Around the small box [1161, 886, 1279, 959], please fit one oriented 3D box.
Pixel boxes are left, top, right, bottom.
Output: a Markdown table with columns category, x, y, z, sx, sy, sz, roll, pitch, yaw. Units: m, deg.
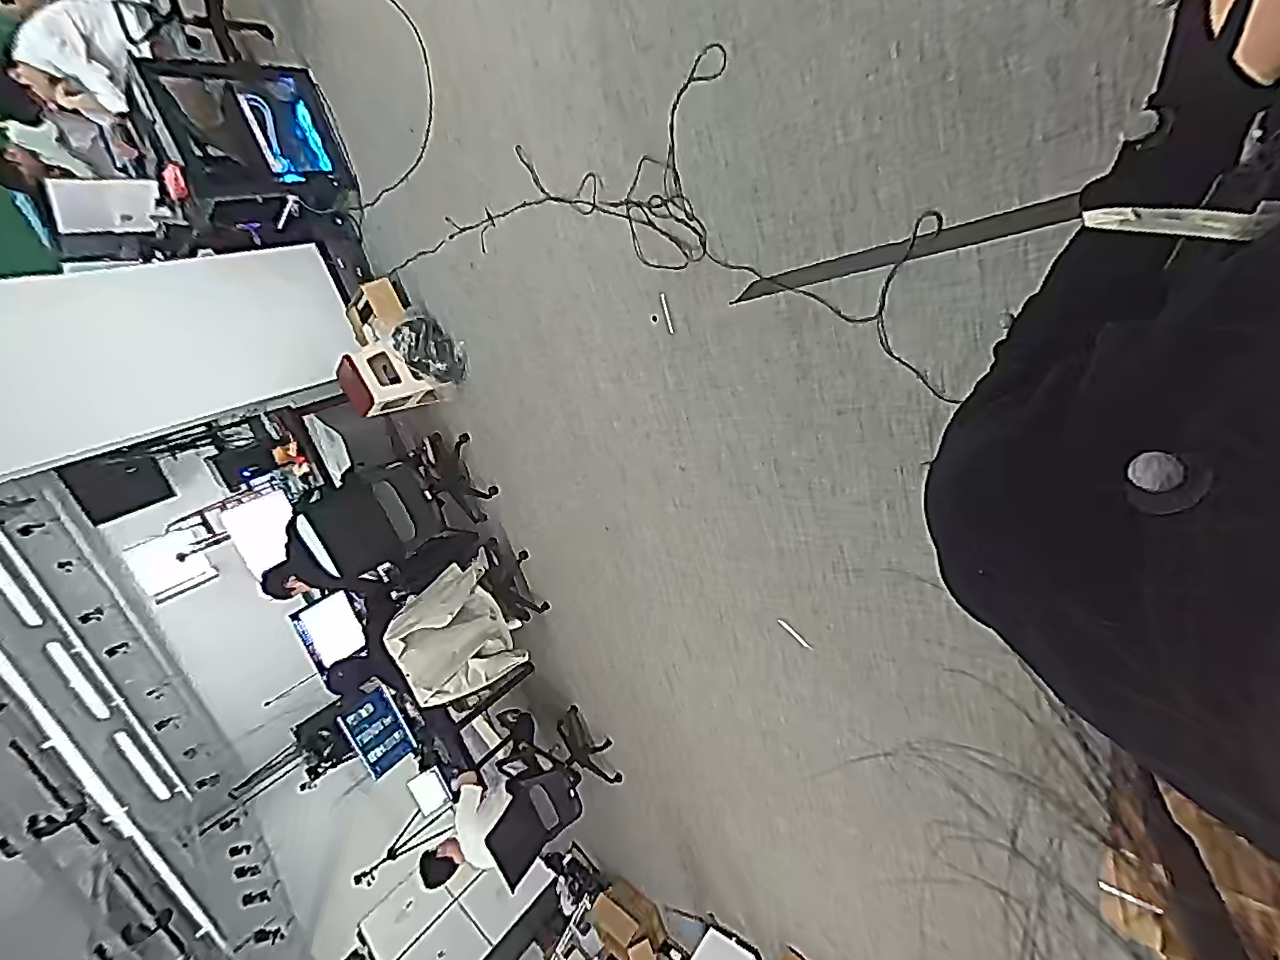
| category | x | y | z | sx | sy | sz | roll | pitch | yaw |
| --- | --- | --- | --- | --- | --- | --- | --- | --- | --- |
| small box | 1.238 | 1.028 | 1.153 | 0.179 | 0.176 | 0.168 | 1 | 114 | 47 |
